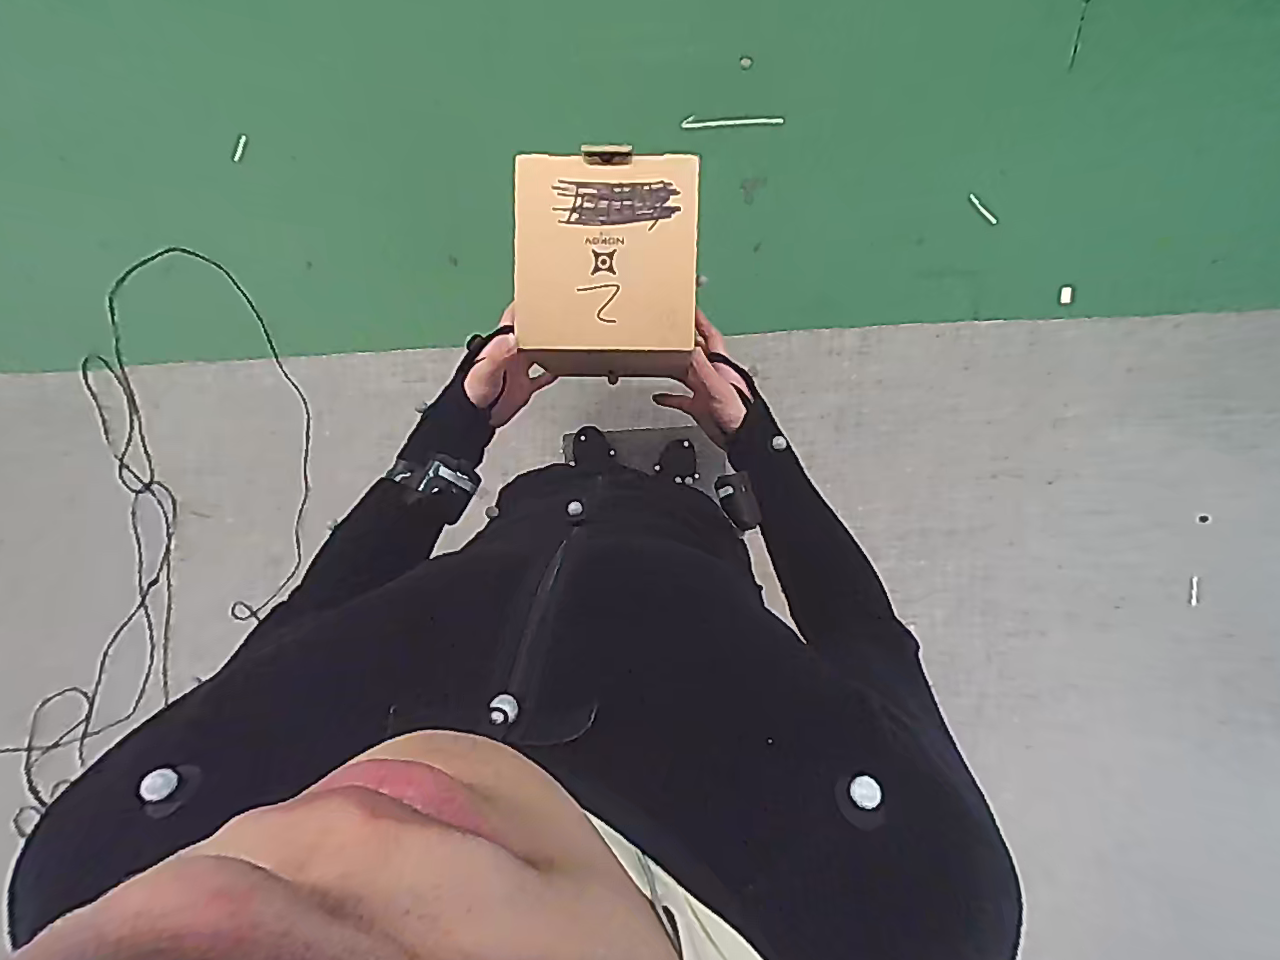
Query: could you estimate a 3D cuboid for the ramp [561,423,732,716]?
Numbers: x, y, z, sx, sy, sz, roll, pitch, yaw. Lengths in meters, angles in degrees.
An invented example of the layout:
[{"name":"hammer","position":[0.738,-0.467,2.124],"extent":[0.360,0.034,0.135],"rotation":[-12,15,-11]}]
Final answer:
[{"name":"ramp","position":[0.042,0.322,1.729],"extent":[0.509,0.206,0.991],"rotation":[-5,95,2]}]
